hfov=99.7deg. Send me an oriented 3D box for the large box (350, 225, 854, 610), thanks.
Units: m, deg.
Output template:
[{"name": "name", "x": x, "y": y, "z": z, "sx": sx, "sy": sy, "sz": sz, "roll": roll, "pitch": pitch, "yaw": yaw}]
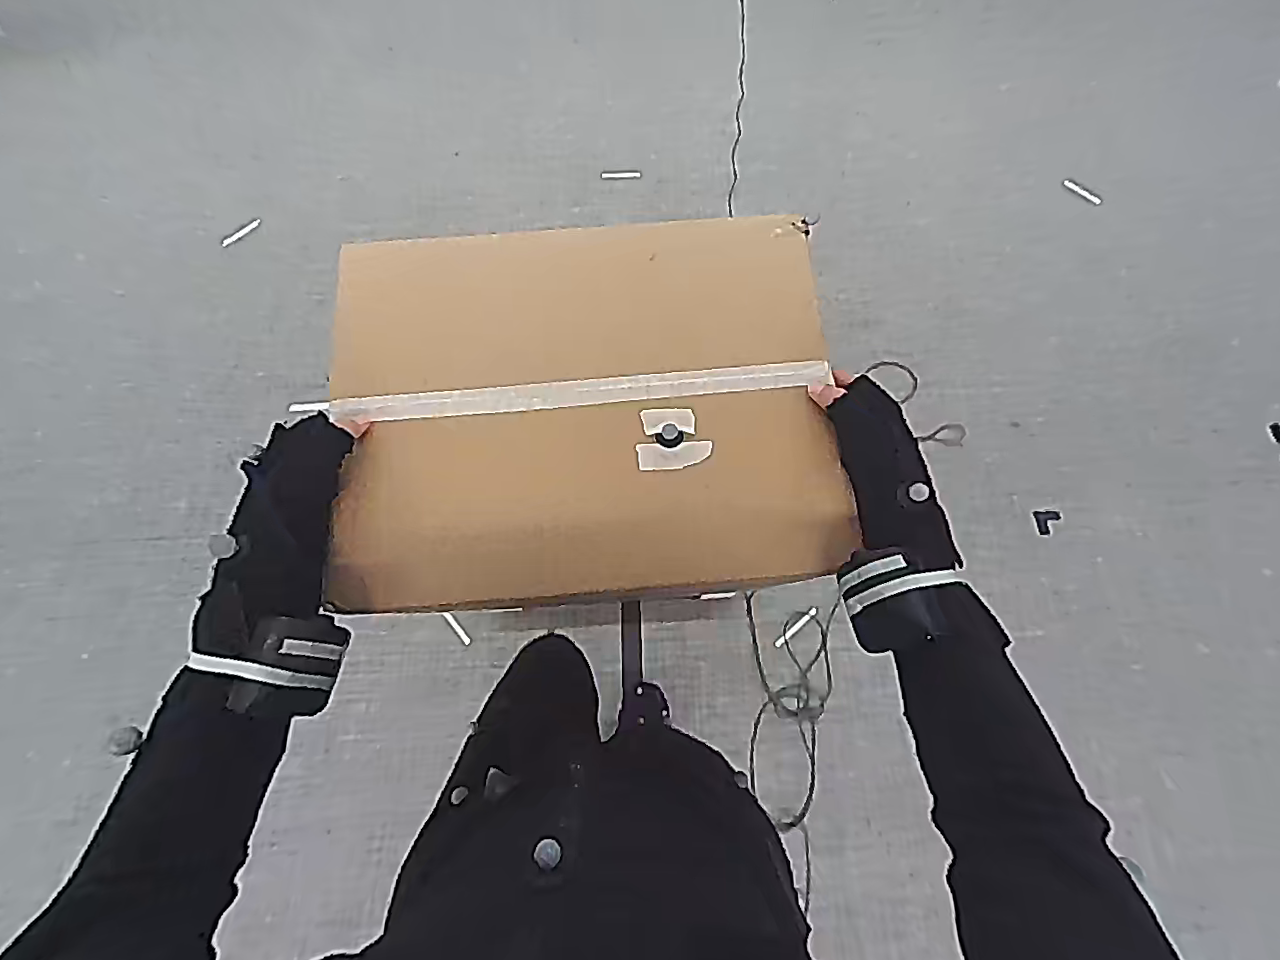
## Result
[{"name": "large box", "x": -0.042, "y": -0.034, "z": 0.600, "sx": 0.408, "sy": 0.320, "sz": 0.320, "roll": -5, "pitch": 76, "yaw": -1}]
